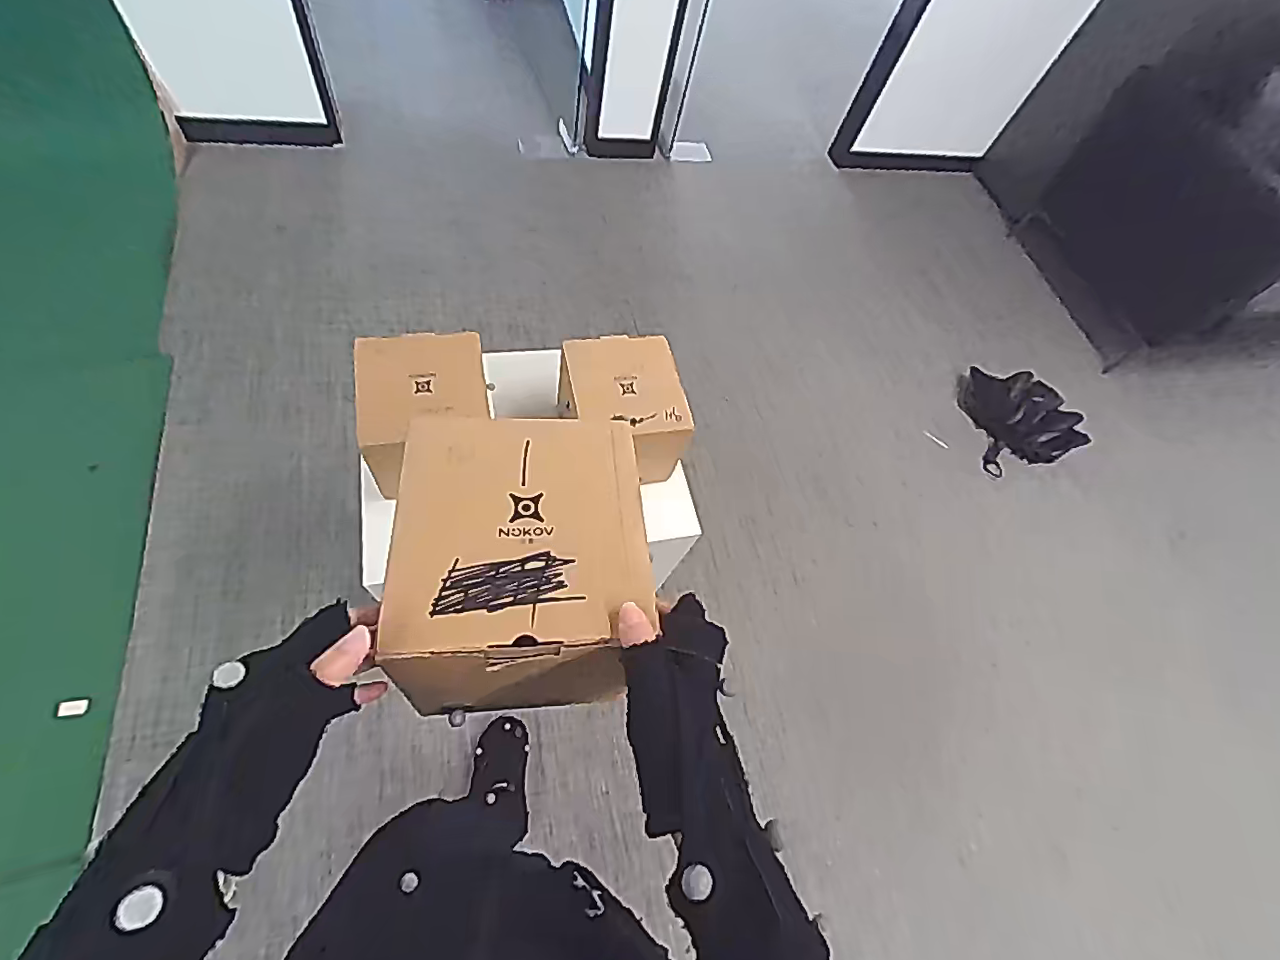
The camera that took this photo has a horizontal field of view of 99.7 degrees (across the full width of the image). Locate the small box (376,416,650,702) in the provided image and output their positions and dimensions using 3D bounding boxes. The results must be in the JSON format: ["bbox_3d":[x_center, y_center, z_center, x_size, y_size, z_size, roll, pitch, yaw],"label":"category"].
[{"bbox_3d":[-0.092,0.069,0.433,0.168,0.176,0.179,-2,55,-11],"label":"small box"}]

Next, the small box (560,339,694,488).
[{"bbox_3d":[-0.032,-0.098,0.859,0.168,0.176,0.179,-9,64,-15],"label":"small box"}]

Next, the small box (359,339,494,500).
[{"bbox_3d":[-0.303,-0.081,0.798,0.168,0.176,0.179,-9,66,-15],"label":"small box"}]
